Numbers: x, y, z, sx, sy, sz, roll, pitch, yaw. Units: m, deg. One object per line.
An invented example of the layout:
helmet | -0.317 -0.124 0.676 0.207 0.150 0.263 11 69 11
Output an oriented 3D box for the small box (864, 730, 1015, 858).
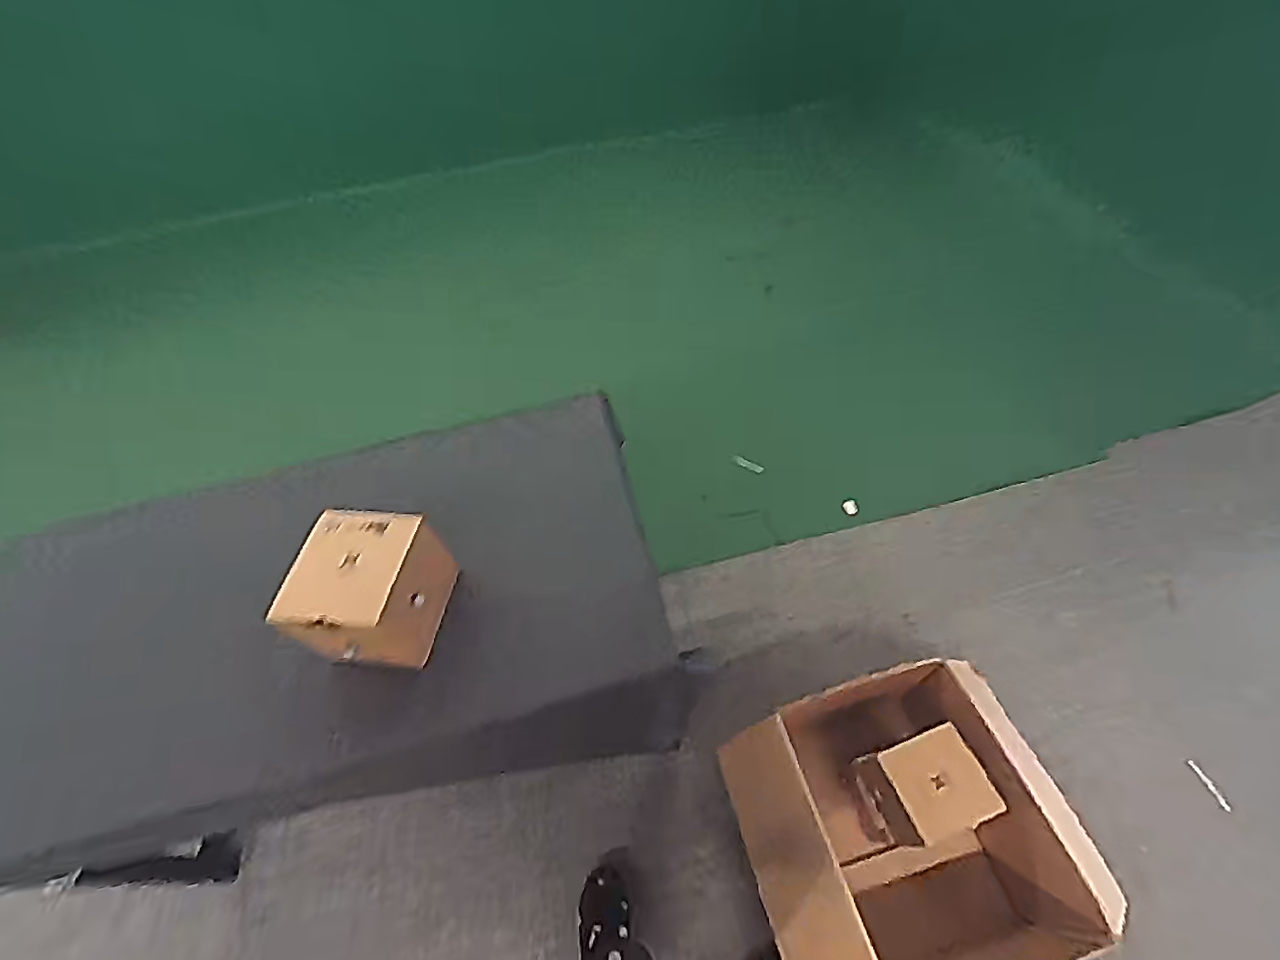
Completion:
small box | 0.580 0.622 1.075 0.179 0.176 0.168 -20 56 -7

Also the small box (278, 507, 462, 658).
small box | -0.401 0.164 0.844 0.168 0.176 0.179 4 54 8
